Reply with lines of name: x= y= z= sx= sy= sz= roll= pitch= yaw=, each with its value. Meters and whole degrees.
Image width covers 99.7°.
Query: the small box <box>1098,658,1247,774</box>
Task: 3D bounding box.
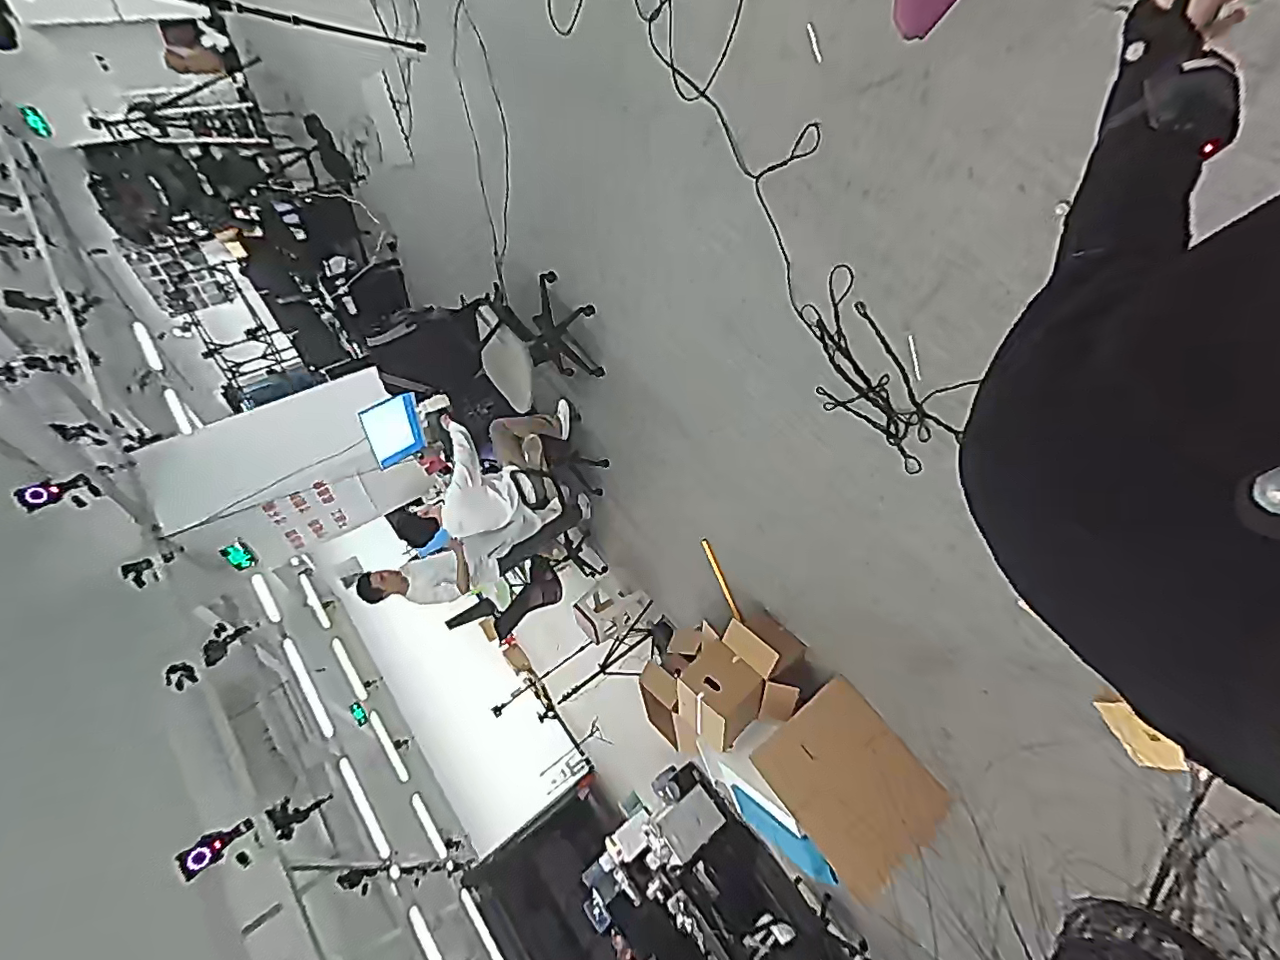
small box: x=1.237 y=0.539 z=1.256 sx=0.179 sy=0.176 sz=0.168 roll=57 pitch=154 yaw=7
